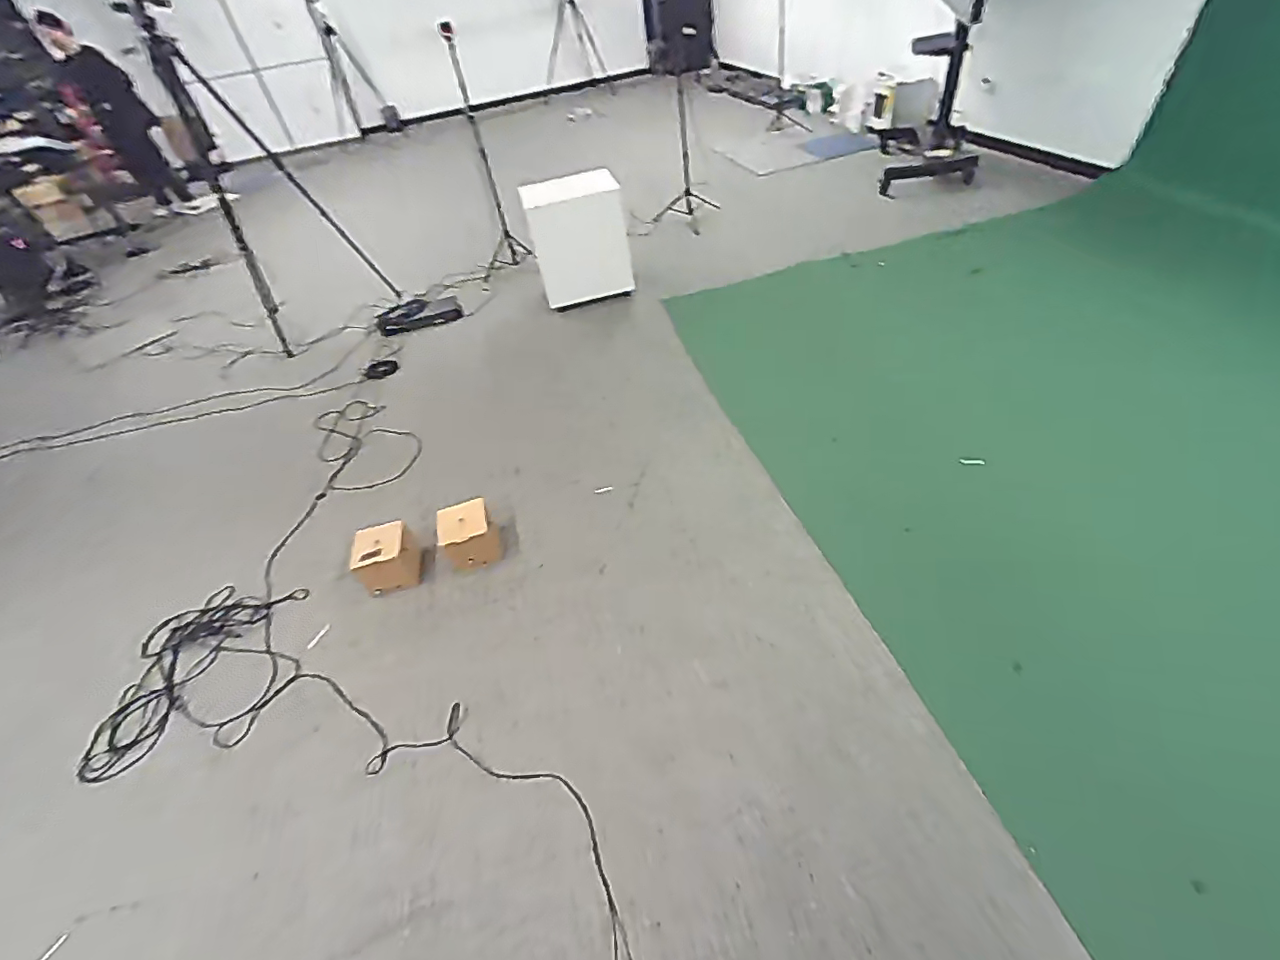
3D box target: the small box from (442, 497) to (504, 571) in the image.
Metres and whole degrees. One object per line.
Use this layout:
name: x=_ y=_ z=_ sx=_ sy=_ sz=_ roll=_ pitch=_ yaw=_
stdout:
small box: x=-0.596 y=0.195 z=1.934 sx=0.168 sy=0.176 sz=0.179 roll=-18 pitch=46 yaw=-7

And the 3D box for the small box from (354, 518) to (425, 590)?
small box: x=-0.876 y=0.269 z=1.909 sx=0.168 sy=0.176 sz=0.179 roll=-14 pitch=44 yaw=-4
